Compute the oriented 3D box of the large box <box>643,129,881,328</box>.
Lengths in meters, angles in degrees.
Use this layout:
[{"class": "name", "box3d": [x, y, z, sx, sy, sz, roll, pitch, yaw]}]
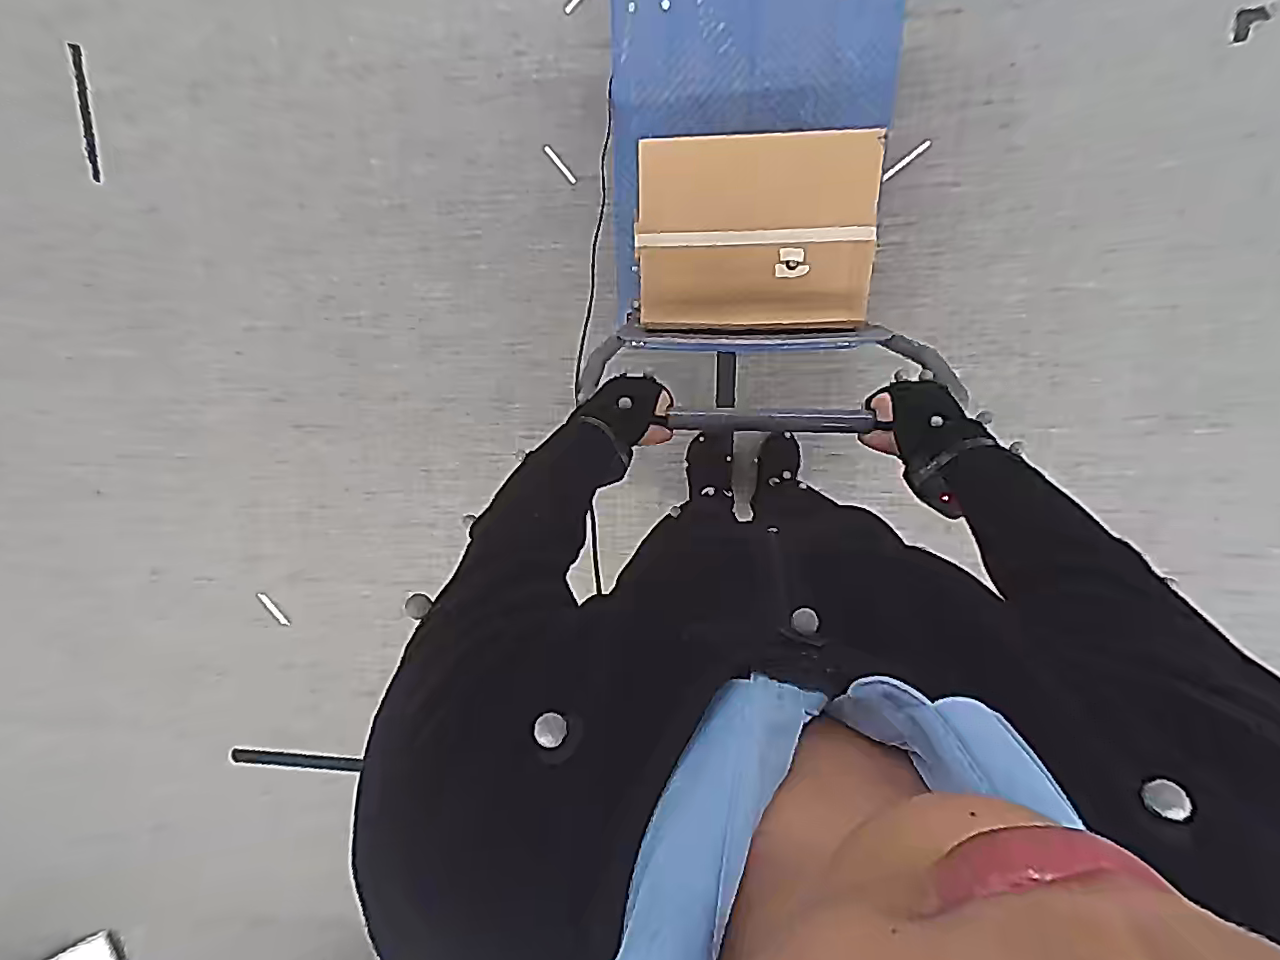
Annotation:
[{"class": "large box", "box3d": [0.219, -0.480, 1.098, 0.408, 0.320, 0.320, 1, 109, 6]}]
